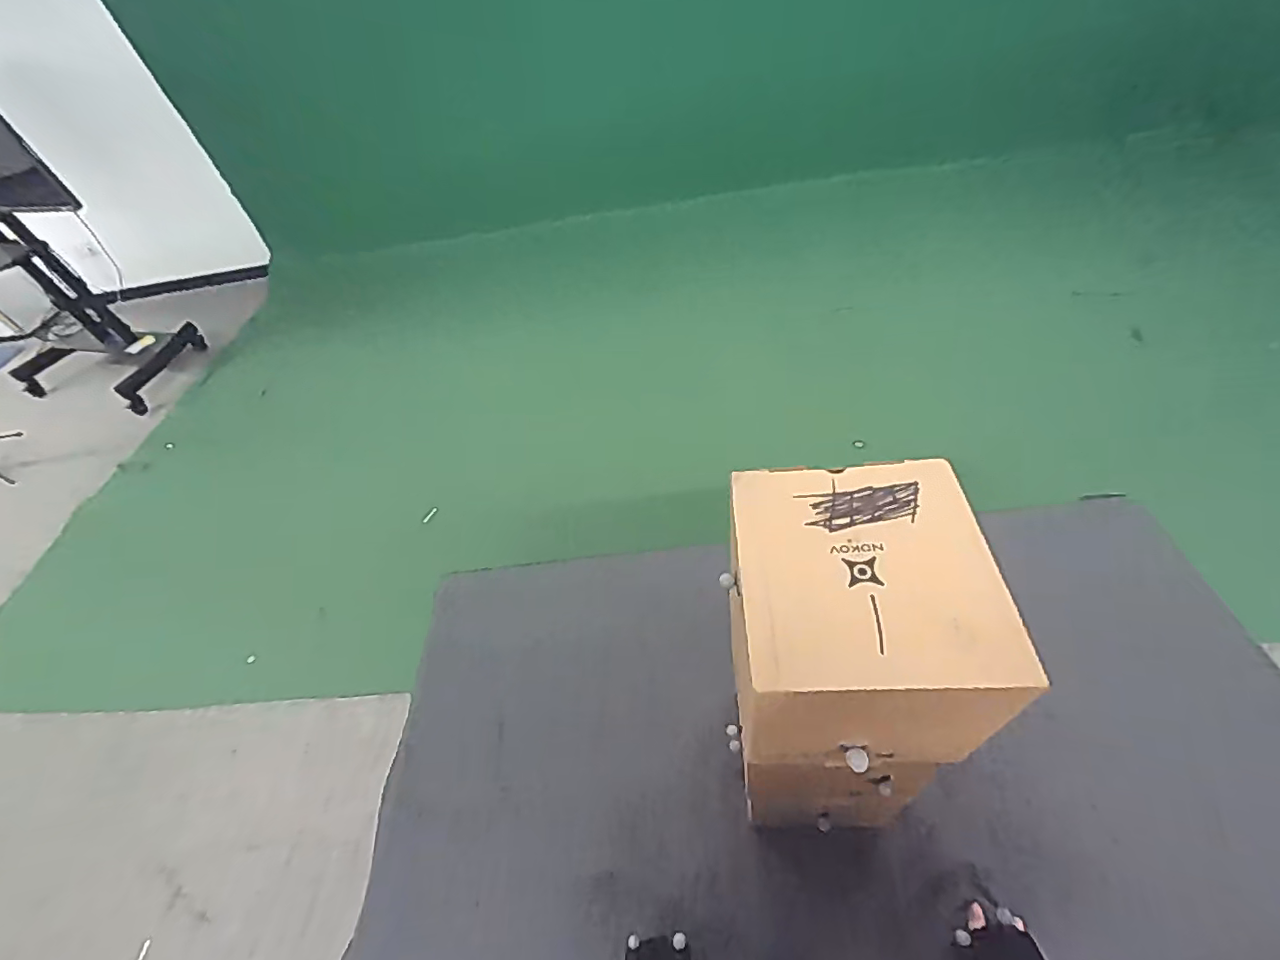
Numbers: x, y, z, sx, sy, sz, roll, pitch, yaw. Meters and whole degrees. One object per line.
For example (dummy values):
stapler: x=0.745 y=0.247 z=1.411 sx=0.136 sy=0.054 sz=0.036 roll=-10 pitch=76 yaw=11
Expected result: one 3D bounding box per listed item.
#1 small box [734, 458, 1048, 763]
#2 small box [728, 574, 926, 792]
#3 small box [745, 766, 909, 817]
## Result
small box: x=0.161 y=0.105 z=0.424 sx=0.168 sy=0.176 sz=0.179 roll=-4 pitch=51 yaw=8
small box: x=0.183 y=0.207 z=0.551 sx=0.168 sy=0.176 sz=0.179 roll=-5 pitch=48 yaw=6
small box: x=0.212 y=0.310 z=0.673 sx=0.168 sy=0.176 sz=0.179 roll=-5 pitch=50 yaw=8
